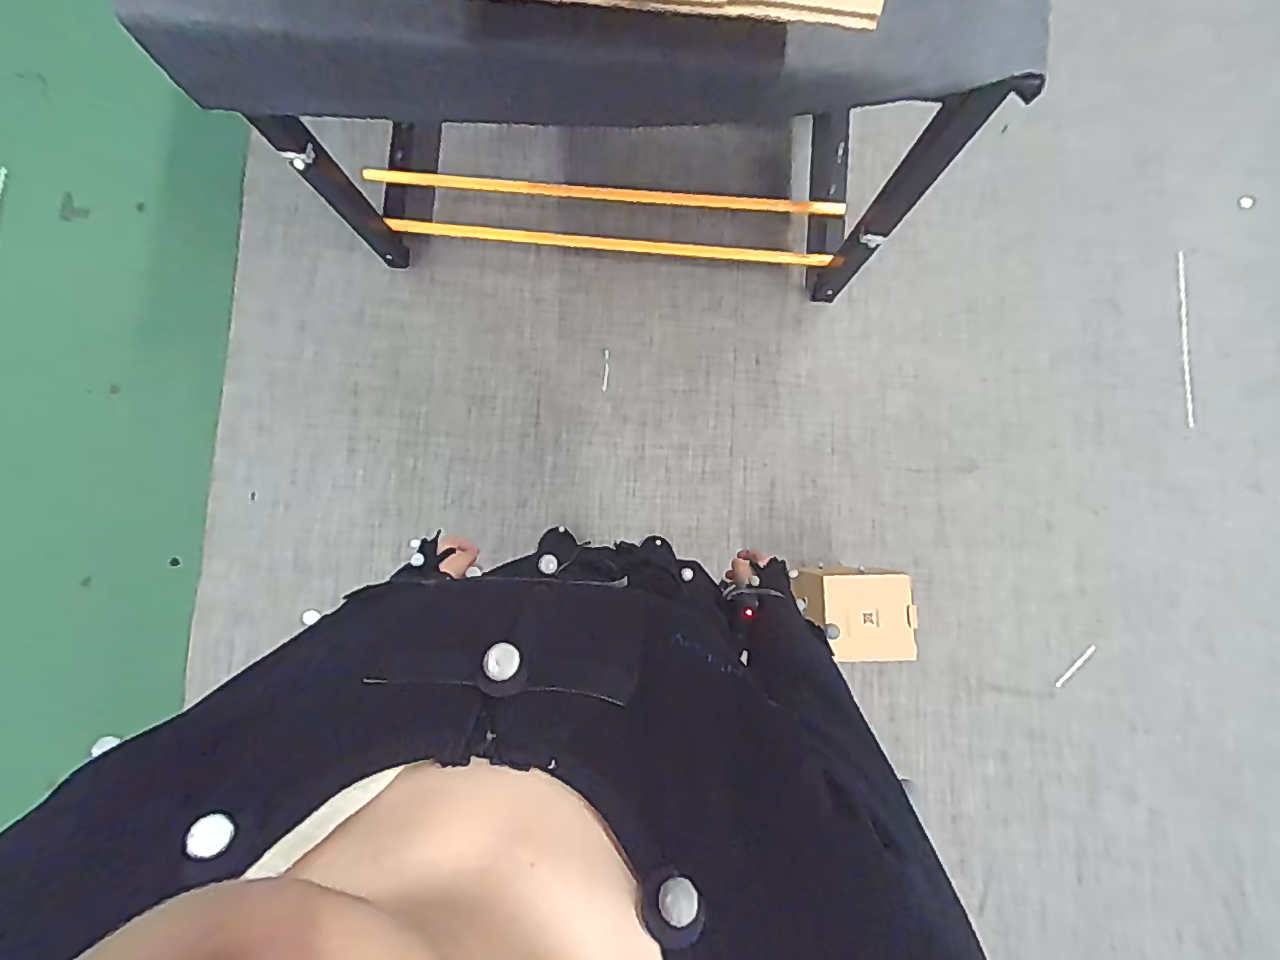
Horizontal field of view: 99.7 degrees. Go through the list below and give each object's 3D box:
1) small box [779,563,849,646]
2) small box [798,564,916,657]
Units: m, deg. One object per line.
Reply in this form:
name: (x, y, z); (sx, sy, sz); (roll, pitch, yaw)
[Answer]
small box: (0.435, 0.289, 1.284); (0.168, 0.176, 0.179); (-2, 85, 0)
small box: (0.441, 0.264, 1.122); (0.179, 0.176, 0.168); (-2, 84, 0)
